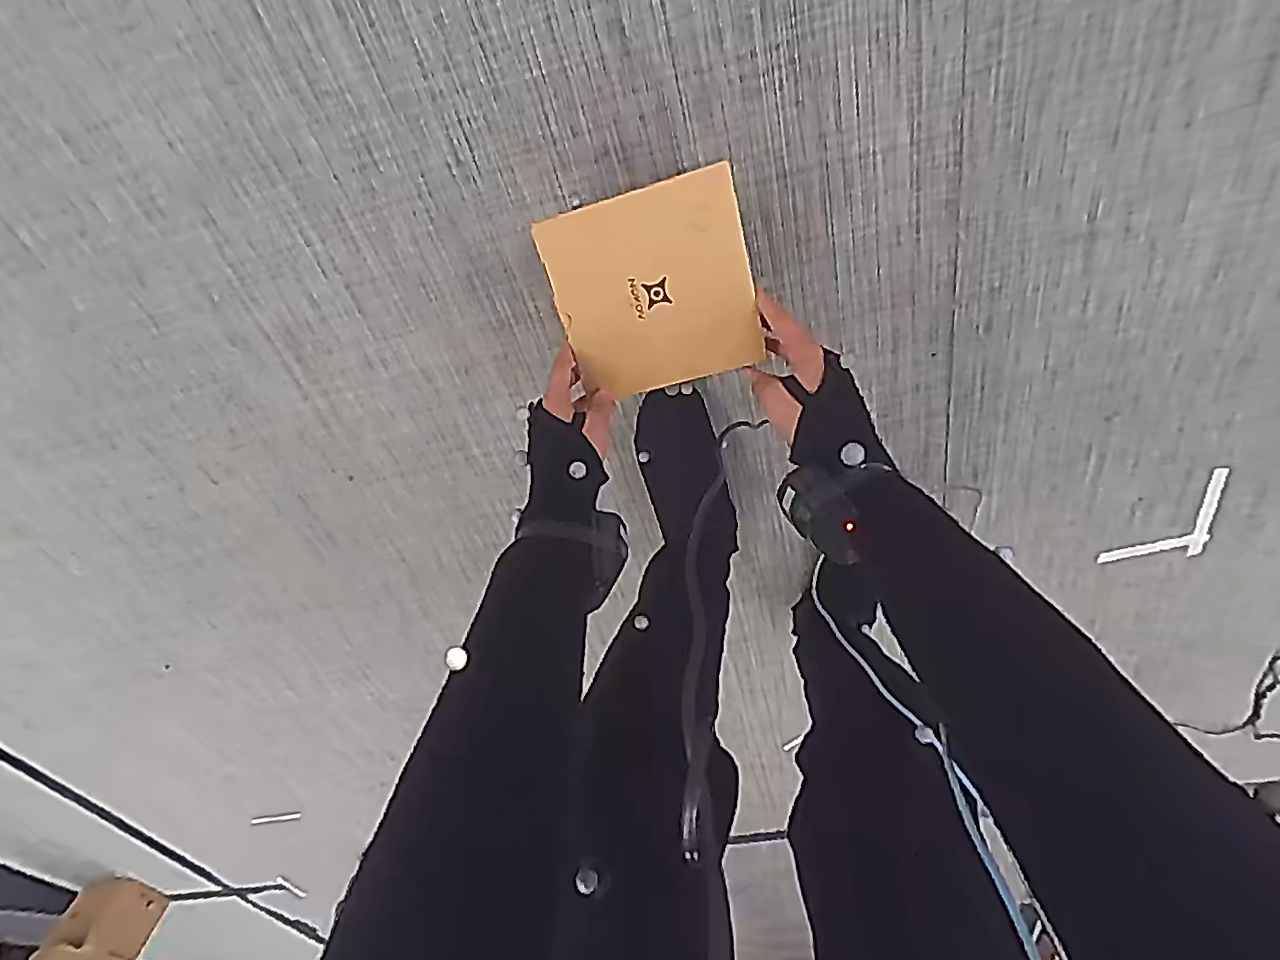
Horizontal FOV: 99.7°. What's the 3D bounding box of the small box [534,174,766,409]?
[{"bbox_3d":[0.020,-0.190,0.551,0.179,0.176,0.168,-12,111,13],"label":"small box"}]
